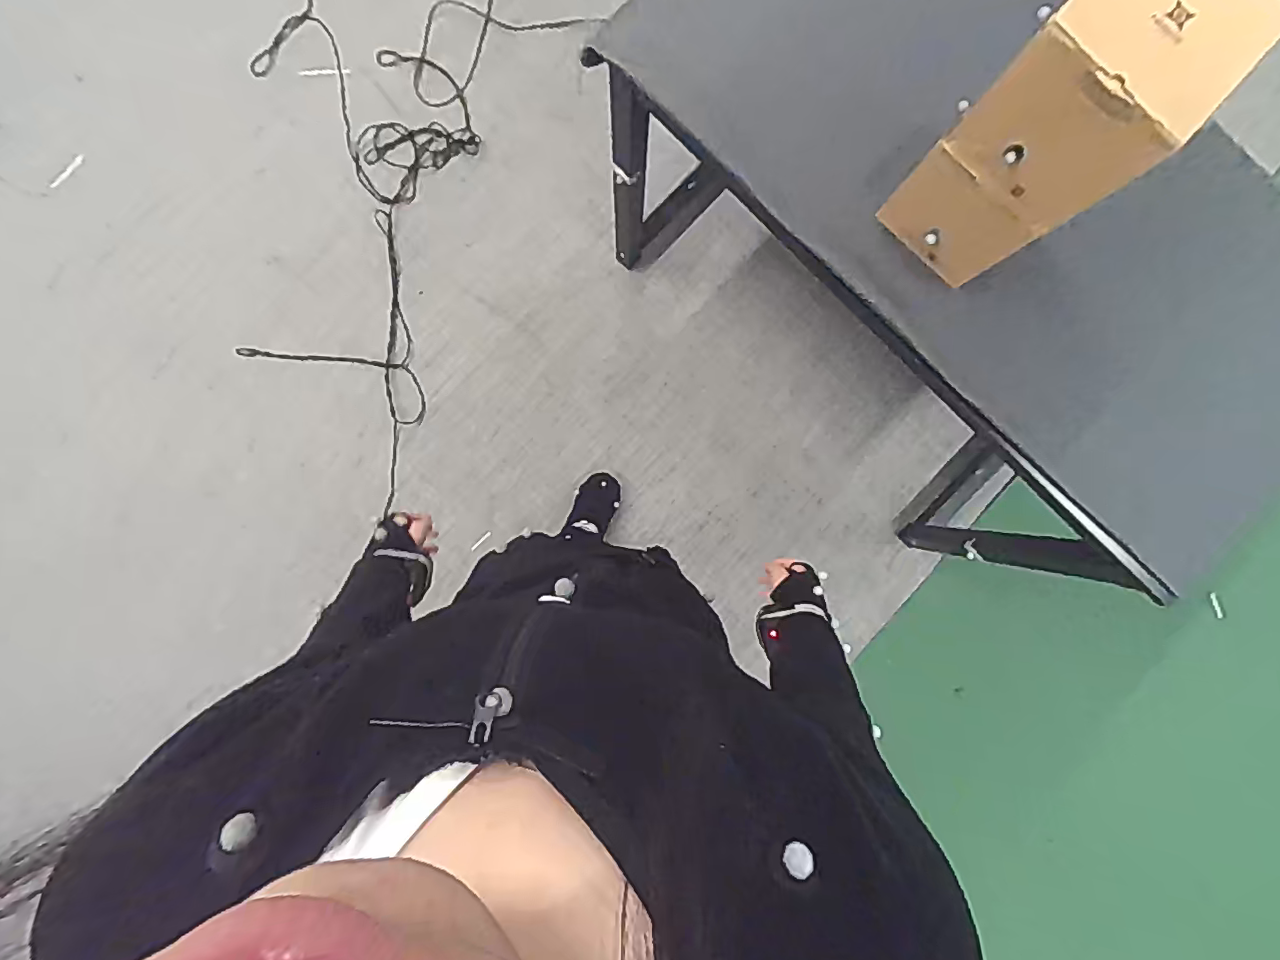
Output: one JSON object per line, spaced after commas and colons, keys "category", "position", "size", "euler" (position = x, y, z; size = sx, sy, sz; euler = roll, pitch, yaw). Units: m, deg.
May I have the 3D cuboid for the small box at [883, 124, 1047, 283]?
{"category": "small box", "position": [0.469, -0.405, 0.724], "size": [0.168, 0.176, 0.179], "euler": [42, 87, 0]}

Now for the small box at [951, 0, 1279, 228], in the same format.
{"category": "small box", "position": [0.476, -0.411, 0.562], "size": [0.168, 0.176, 0.179], "euler": [42, 87, 0]}
